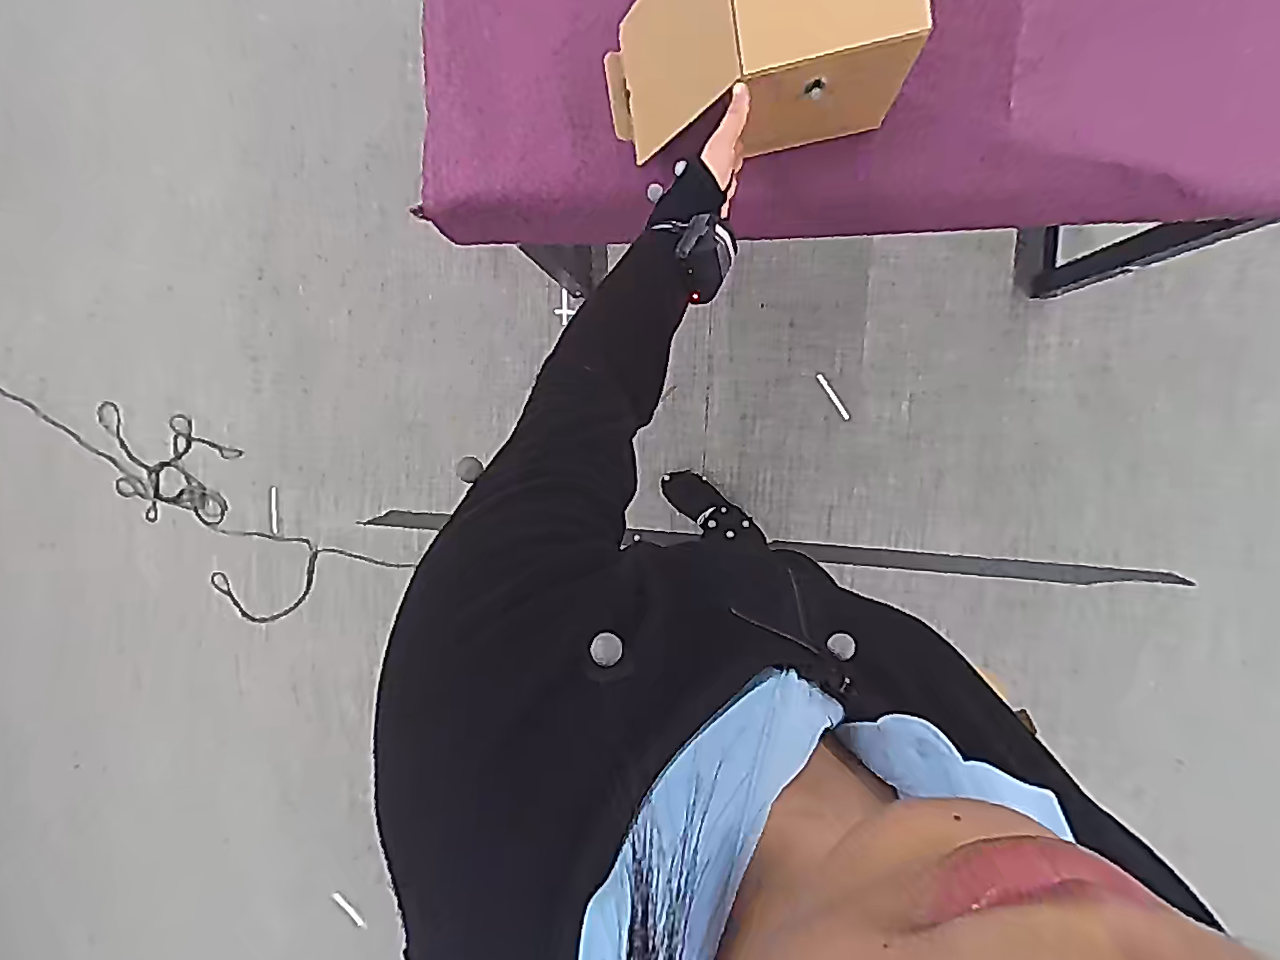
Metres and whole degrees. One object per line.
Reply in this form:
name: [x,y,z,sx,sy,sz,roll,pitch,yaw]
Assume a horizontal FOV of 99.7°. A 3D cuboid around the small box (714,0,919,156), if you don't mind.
small box: [0.173,-0.482,0.580,0.179,0.176,0.168,-7,95,9]
